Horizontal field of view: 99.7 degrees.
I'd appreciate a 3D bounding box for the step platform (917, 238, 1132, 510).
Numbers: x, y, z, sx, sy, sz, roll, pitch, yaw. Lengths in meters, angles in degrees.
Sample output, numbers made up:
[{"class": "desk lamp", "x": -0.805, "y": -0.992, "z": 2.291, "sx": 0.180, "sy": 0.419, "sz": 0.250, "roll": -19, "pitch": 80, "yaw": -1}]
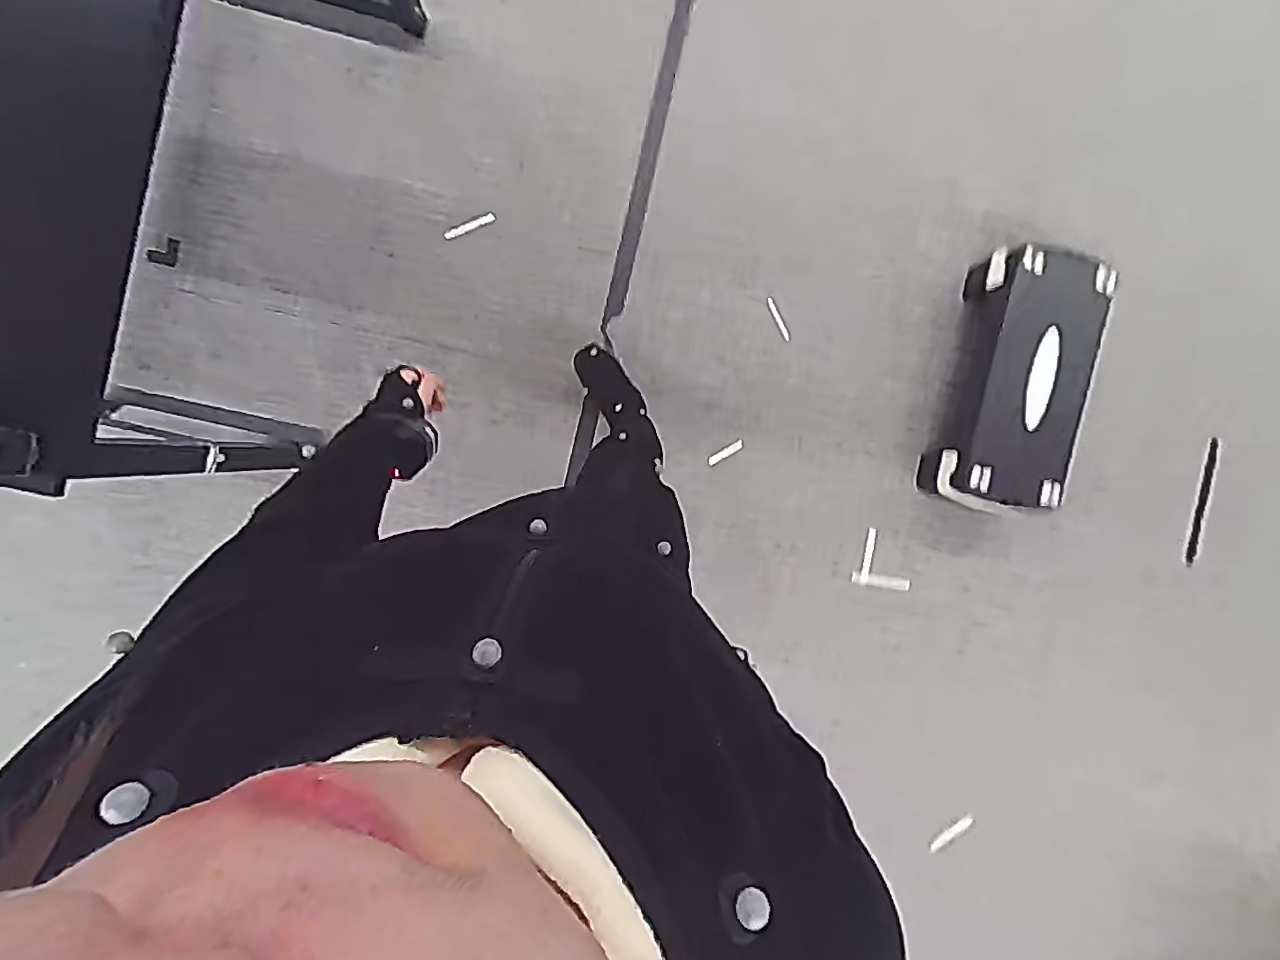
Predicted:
[{"class": "step platform", "x": 1.016, "y": -0.269, "z": 1.437, "sx": 0.286, "sy": 0.204, "sz": 0.684, "roll": 19, "pitch": 90, "yaw": -5}]
